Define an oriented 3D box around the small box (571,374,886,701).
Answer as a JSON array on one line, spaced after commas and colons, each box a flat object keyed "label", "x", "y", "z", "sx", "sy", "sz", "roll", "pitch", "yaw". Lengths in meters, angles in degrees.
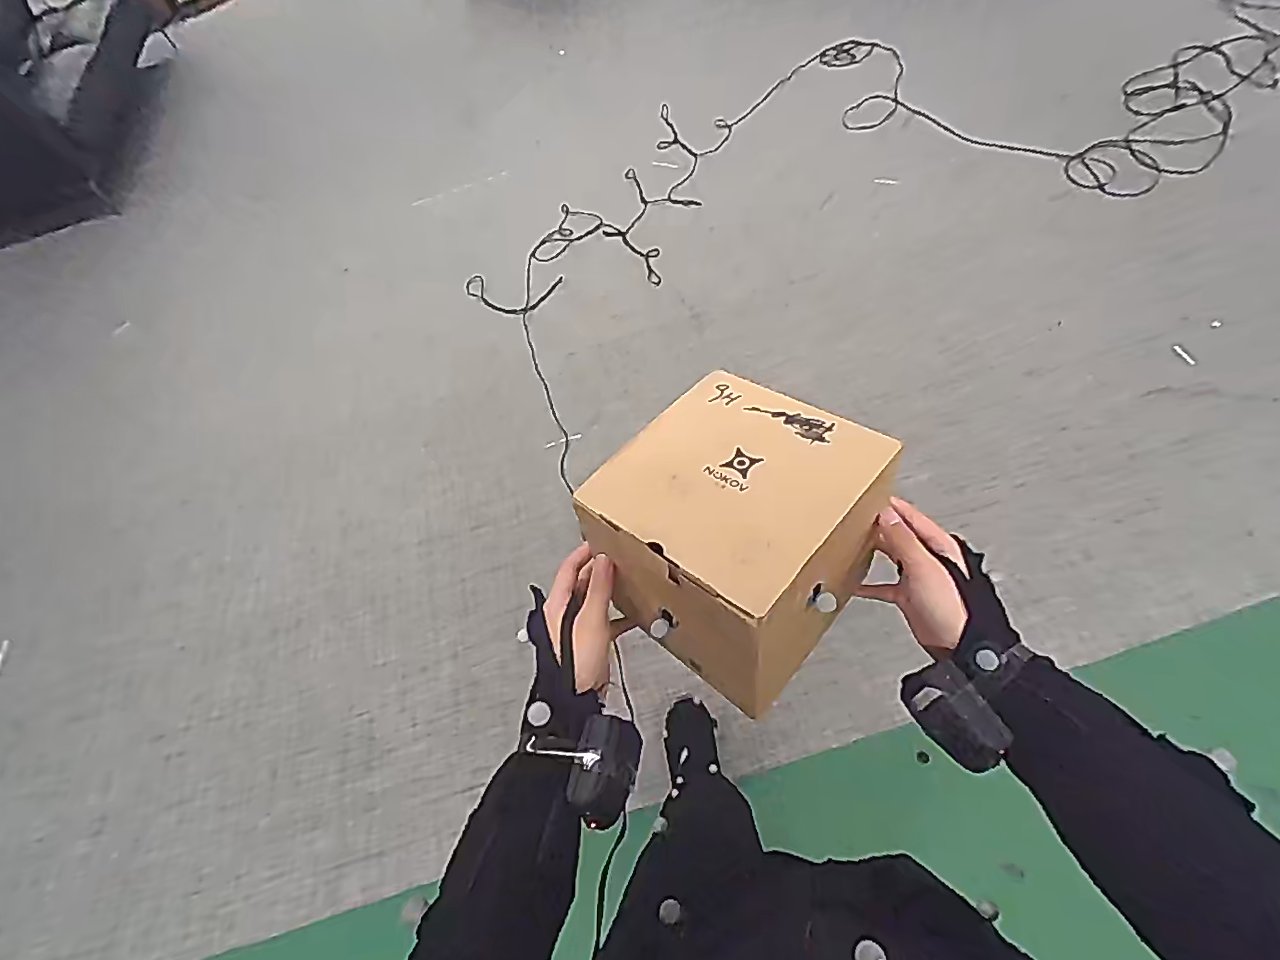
[{"label": "small box", "x": 0.076, "y": 0.048, "z": 0.452, "sx": 0.168, "sy": 0.176, "sz": 0.179, "roll": 31, "pitch": 62, "yaw": 33}]
